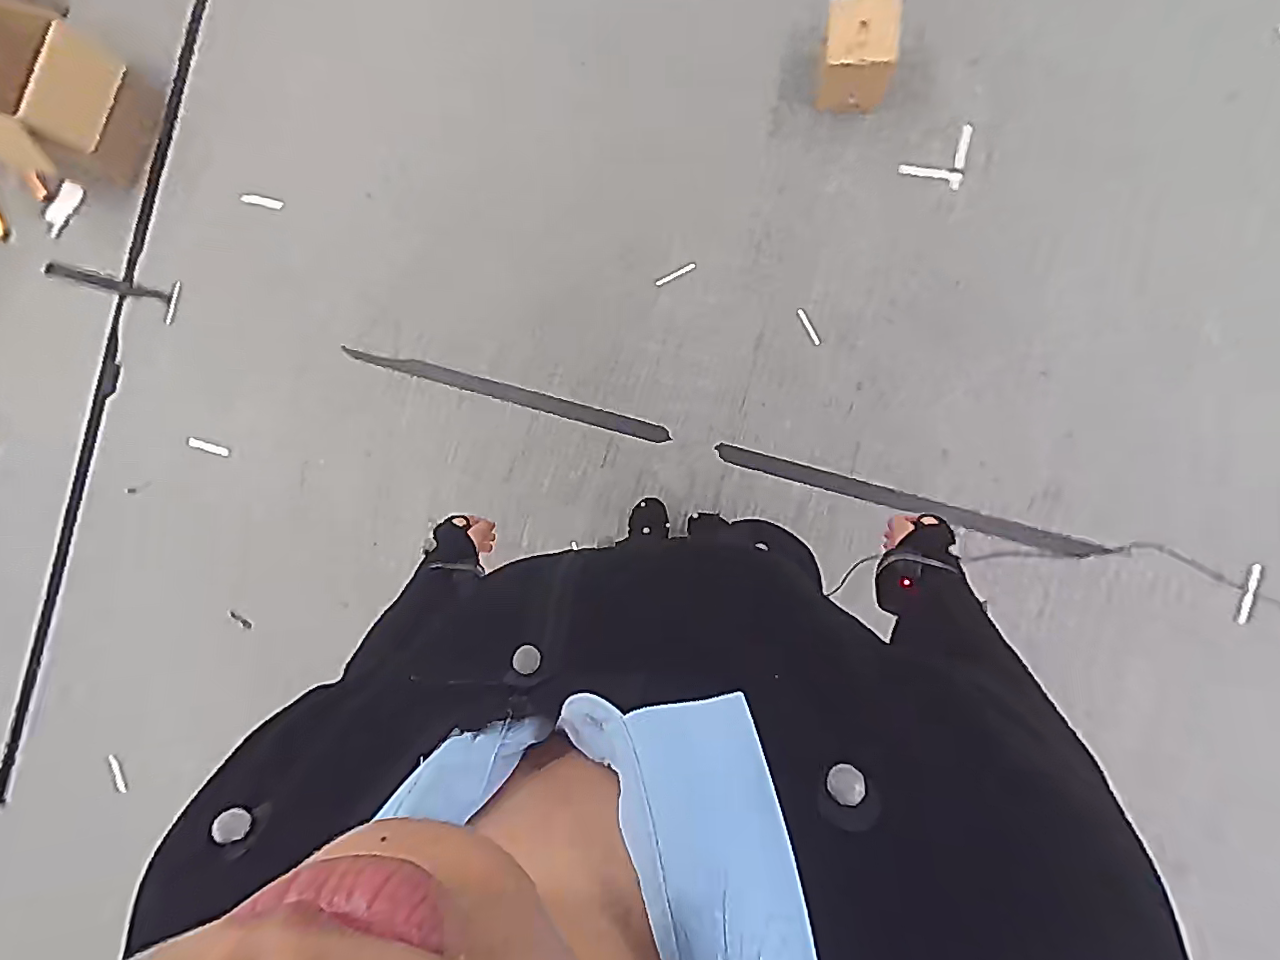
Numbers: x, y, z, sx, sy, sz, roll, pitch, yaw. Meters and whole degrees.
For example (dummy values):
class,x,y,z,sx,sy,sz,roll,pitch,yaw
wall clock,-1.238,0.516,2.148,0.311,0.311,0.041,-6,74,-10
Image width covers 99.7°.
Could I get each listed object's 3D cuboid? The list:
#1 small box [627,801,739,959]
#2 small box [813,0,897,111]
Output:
class,x,y,z,sx,sy,sz,roll,pitch,yaw
small box,0.087,0.765,1.034,0.168,0.176,0.179,15,89,8
small box,0.546,-1.093,1.390,0.168,0.176,0.179,3,89,9
